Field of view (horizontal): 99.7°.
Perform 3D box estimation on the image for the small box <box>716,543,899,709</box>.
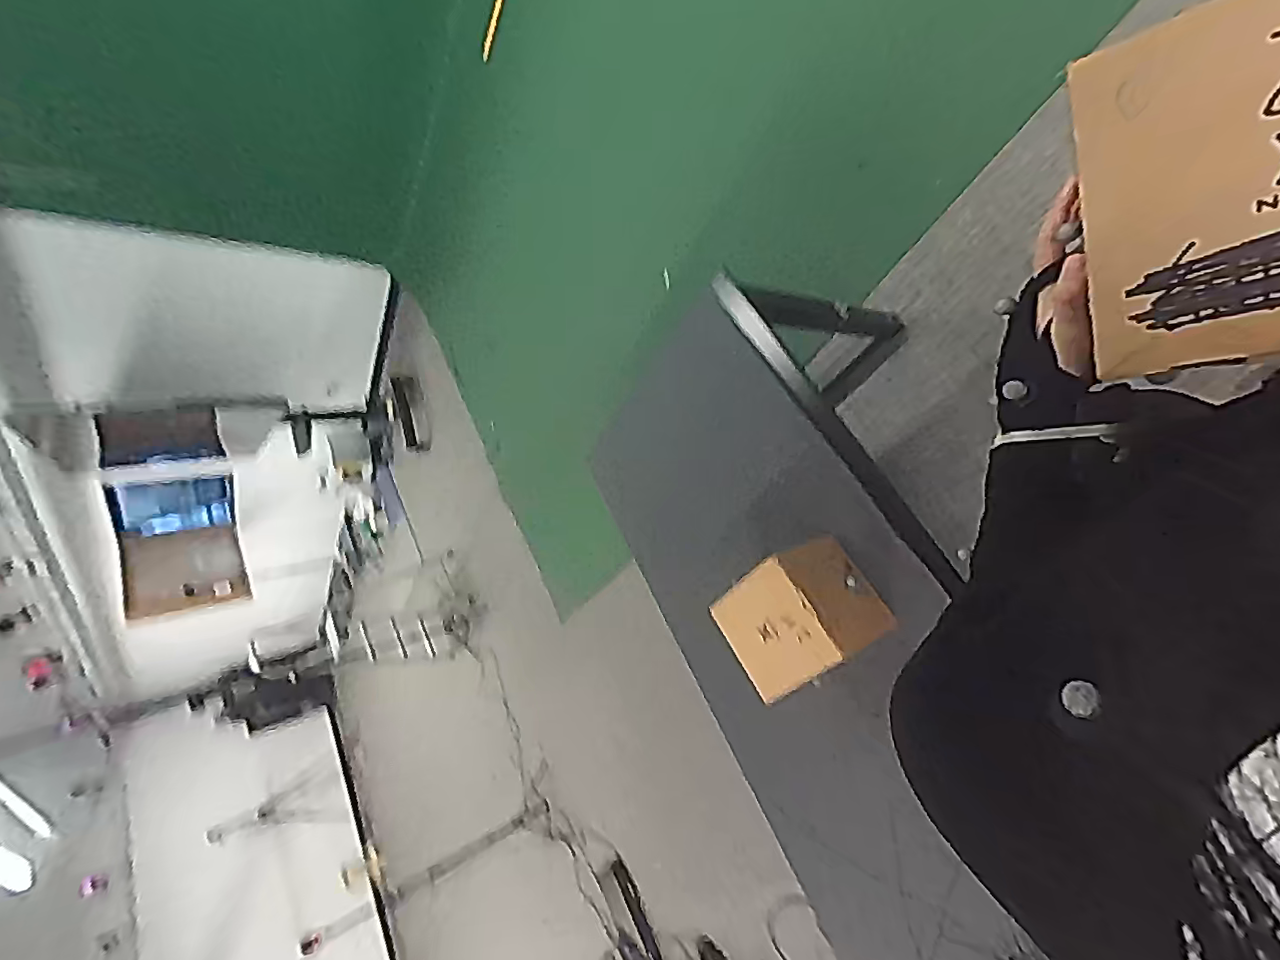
[{"bbox_3d":[0.259,0.221,0.840,0.168,0.176,0.179,58,135,25],"label":"small box"}]
